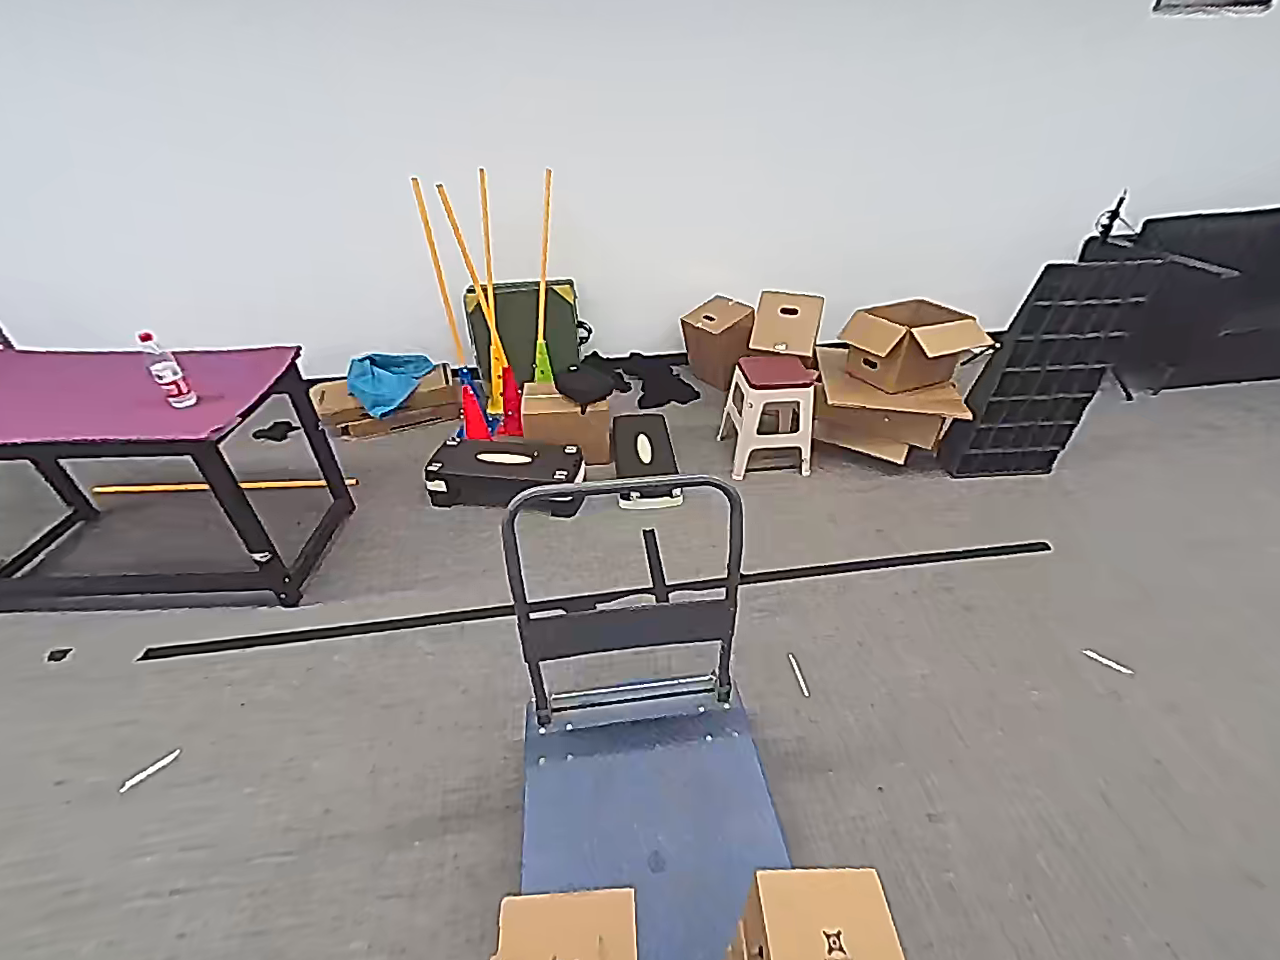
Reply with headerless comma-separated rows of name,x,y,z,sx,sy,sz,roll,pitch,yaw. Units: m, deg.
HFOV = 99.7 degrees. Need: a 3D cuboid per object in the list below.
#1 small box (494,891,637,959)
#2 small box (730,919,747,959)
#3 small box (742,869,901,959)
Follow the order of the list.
small box,-0.090,0.656,0.691,0.179,0.176,0.168,-1,38,-3
small box,0.234,0.778,0.803,0.179,0.176,0.168,0,36,-2
small box,0.235,0.644,0.708,0.168,0.176,0.179,0,36,0
